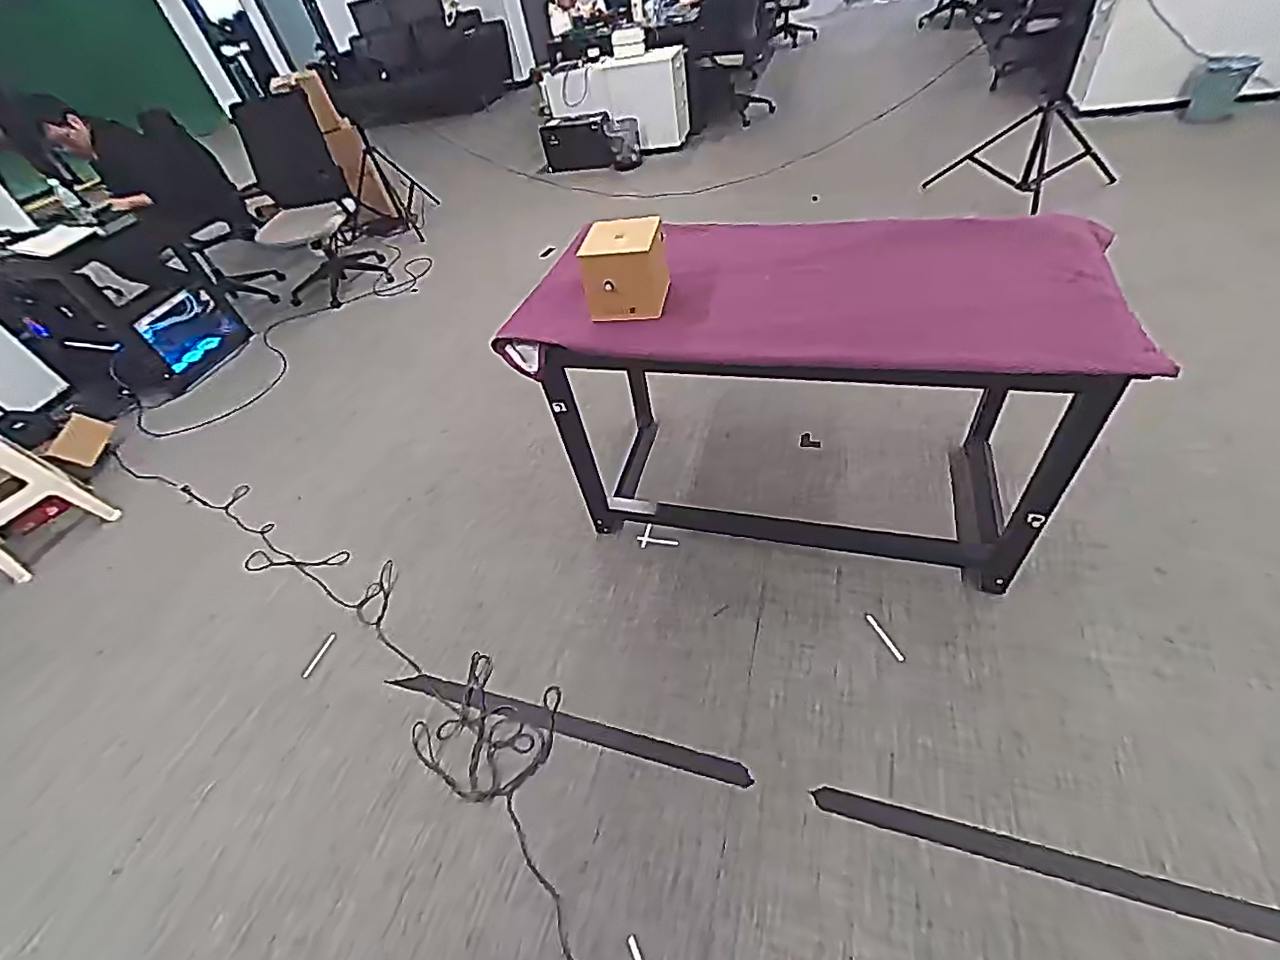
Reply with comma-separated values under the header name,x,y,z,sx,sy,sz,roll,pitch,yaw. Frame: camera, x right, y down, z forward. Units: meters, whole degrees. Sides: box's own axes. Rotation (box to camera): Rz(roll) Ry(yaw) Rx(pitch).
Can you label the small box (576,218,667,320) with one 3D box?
name,x,y,z,sx,sy,sz,roll,pitch,yaw
small box,-0.034,-0.491,1.275,0.168,0.176,0.179,1,47,14
